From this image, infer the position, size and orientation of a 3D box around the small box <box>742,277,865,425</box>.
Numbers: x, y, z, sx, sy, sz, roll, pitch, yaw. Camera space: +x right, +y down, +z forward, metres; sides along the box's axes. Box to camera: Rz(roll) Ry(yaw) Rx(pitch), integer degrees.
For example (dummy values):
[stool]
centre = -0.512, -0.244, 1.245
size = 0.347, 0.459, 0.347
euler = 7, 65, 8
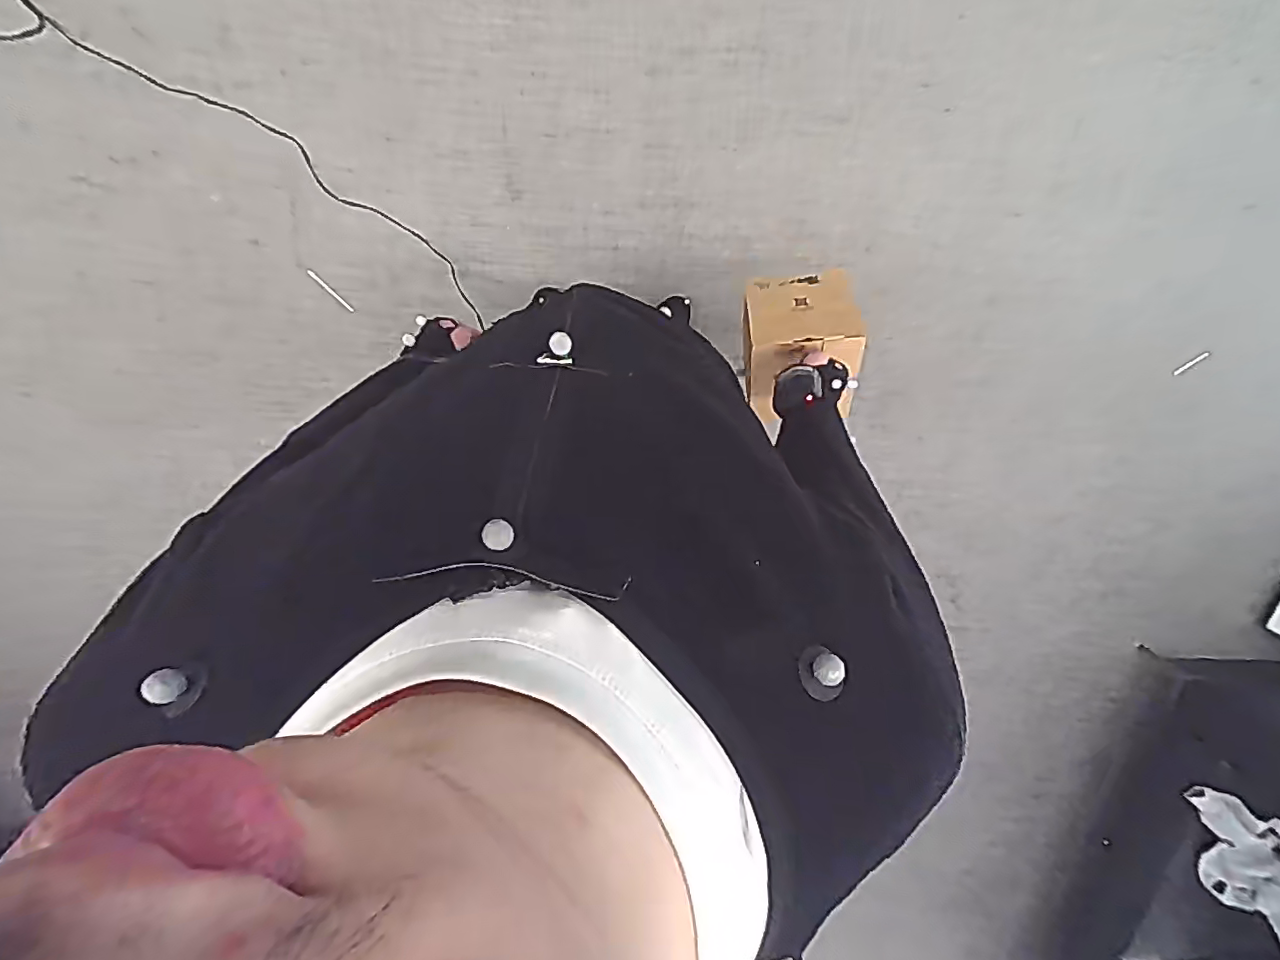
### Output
[small box]
centre = 0.267, -0.207, 0.909
size = 0.168, 0.179, 0.176
euler = -7, 140, 9
